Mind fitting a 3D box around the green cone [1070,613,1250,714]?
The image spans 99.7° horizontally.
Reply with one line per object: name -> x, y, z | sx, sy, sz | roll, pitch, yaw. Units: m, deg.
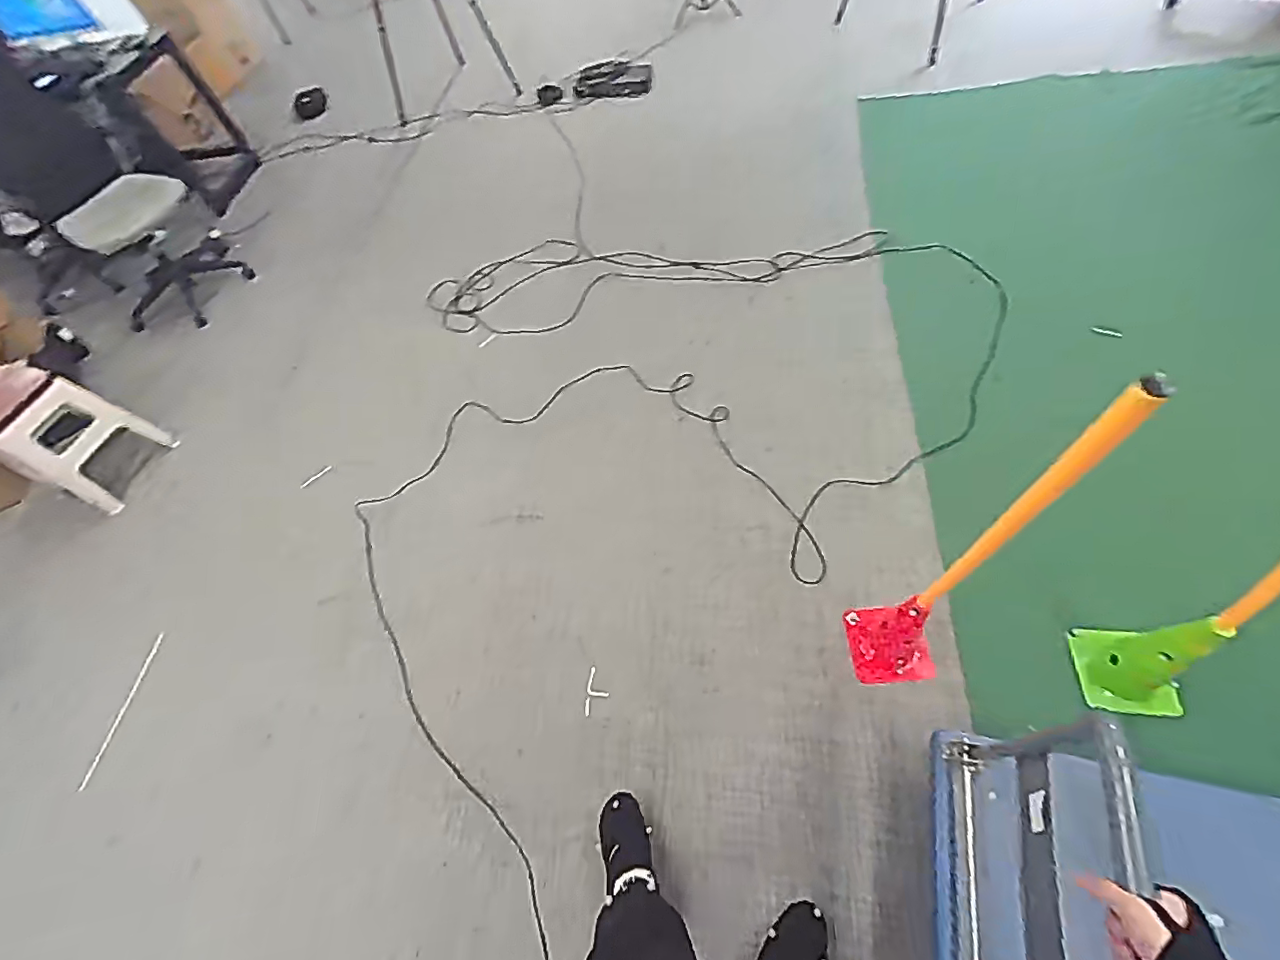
green cone -> 1.174, 0.375, 1.193 | 0.202, 0.368, 0.200 | 1, 58, 10
